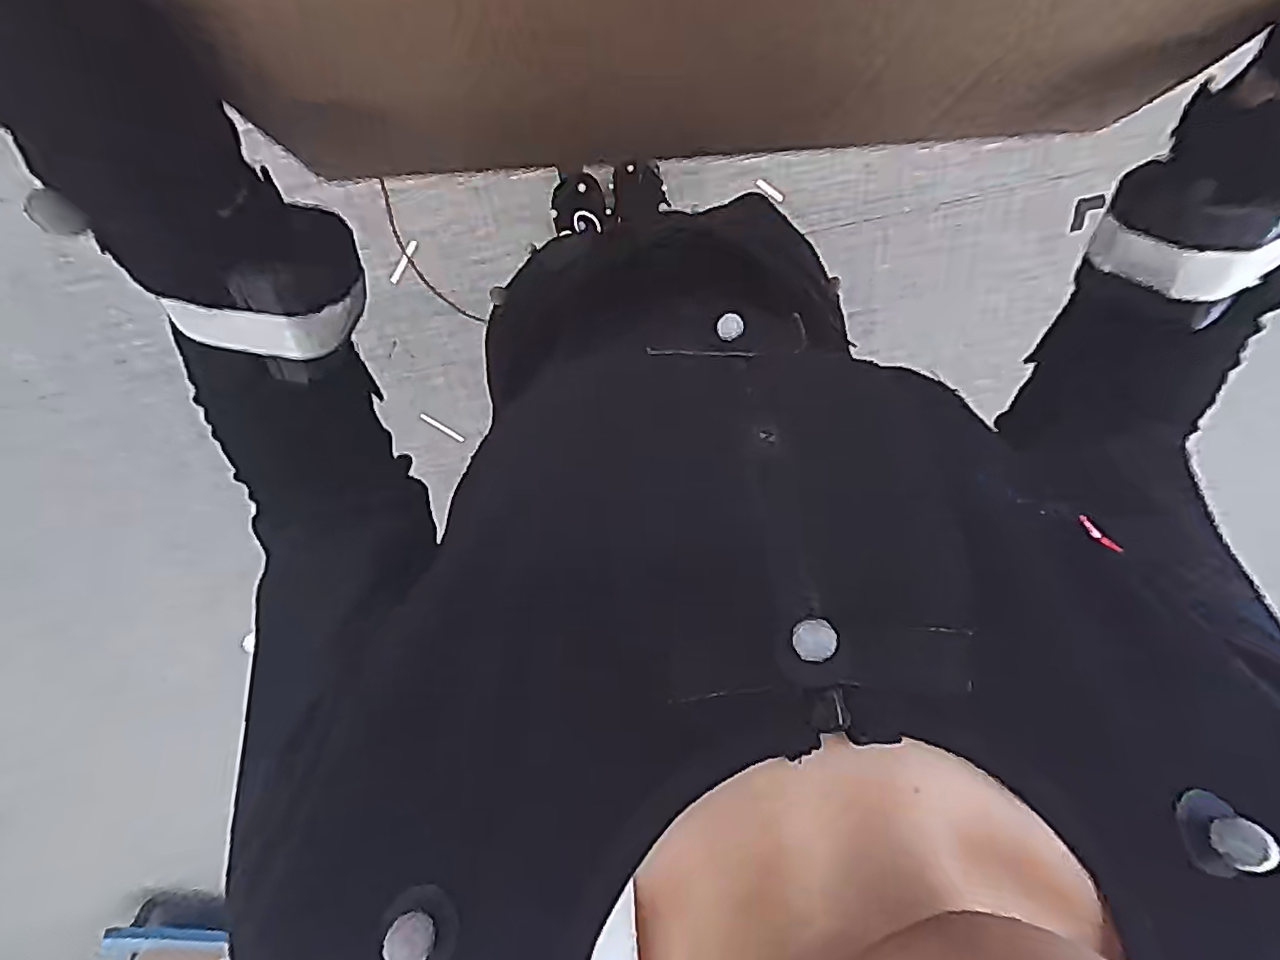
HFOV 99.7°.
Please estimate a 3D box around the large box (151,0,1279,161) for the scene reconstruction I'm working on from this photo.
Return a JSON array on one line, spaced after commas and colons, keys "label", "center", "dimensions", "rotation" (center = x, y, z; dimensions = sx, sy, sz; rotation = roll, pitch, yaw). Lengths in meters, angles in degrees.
[{"label": "large box", "center": [0.035, -0.310, 0.113], "dimensions": [0.408, 0.320, 0.320], "rotation": [-4, 98, -1]}]
